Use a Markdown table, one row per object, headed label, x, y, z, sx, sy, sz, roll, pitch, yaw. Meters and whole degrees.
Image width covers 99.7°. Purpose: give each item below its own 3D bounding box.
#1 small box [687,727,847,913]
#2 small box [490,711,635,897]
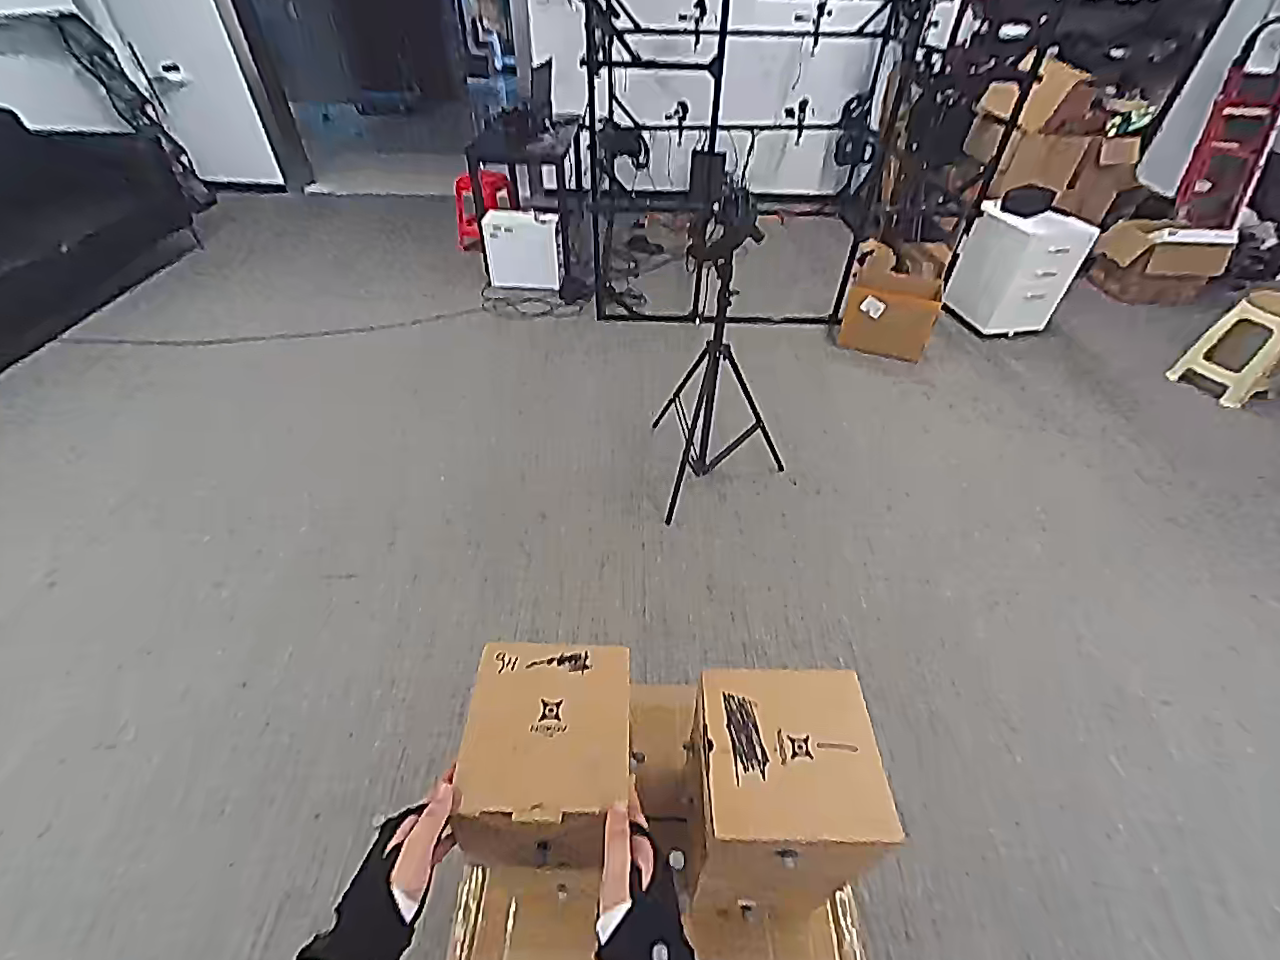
| label | x | y | z | sx | sy | sz | roll | pitch | yaw |
| --- | --- | --- | --- | --- | --- | --- | --- | --- | --- |
| small box | 0.151 | 0.449 | 0.717 | 0.168 | 0.176 | 0.179 | -1 | 45 | 1 |
| small box | -0.092 | 0.433 | 0.725 | 0.168 | 0.176 | 0.179 | 1 | 43 | -2 |
